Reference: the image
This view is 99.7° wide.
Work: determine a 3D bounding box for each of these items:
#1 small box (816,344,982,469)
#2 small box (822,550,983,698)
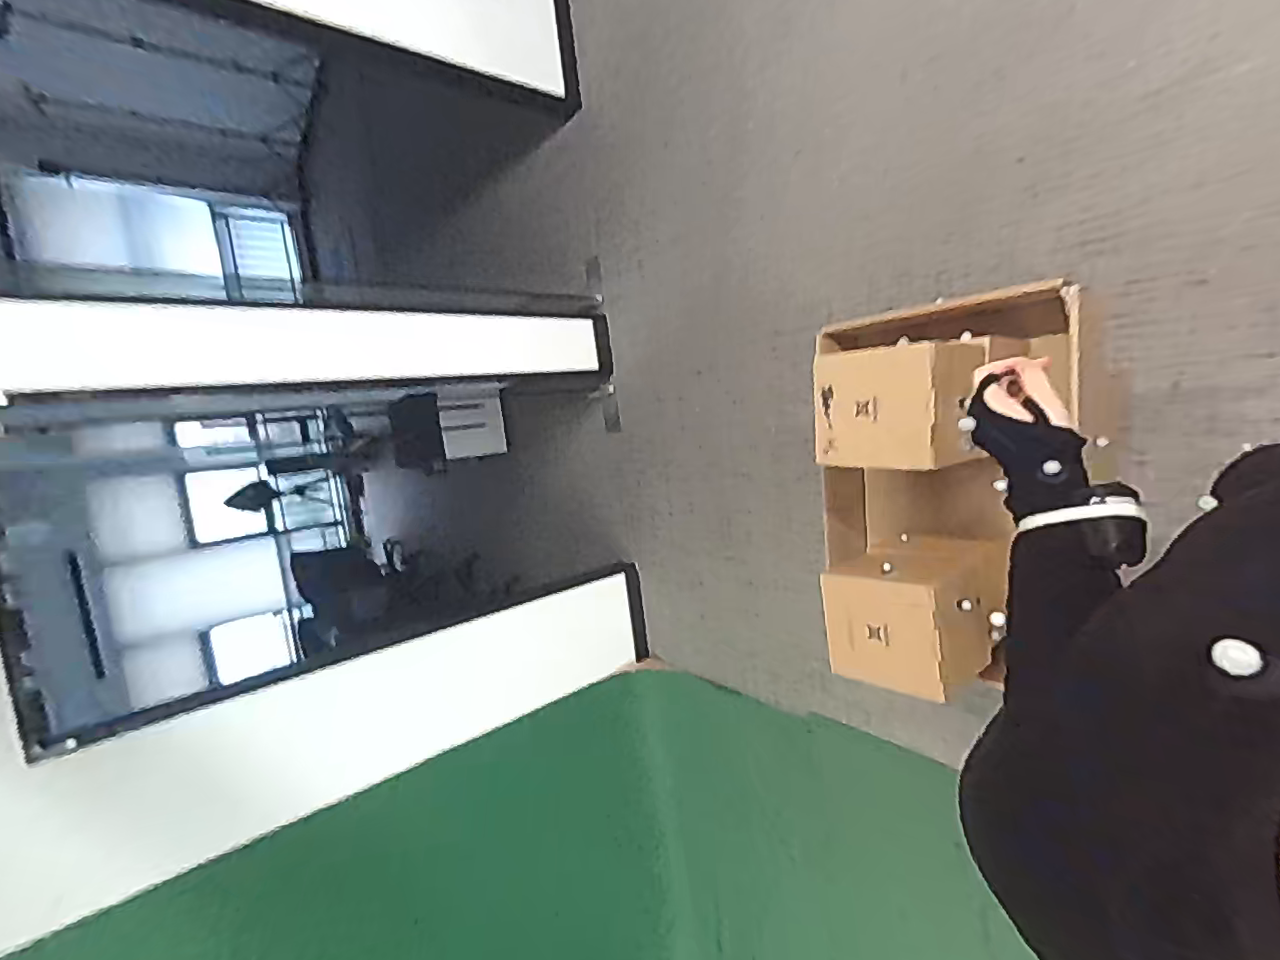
[{"bbox_3d":[0.387,-0.113,0.809,0.179,0.176,0.168,7,103,51],"label":"small box"},{"bbox_3d":[0.415,0.210,0.849,0.179,0.176,0.168,-2,96,53],"label":"small box"}]
